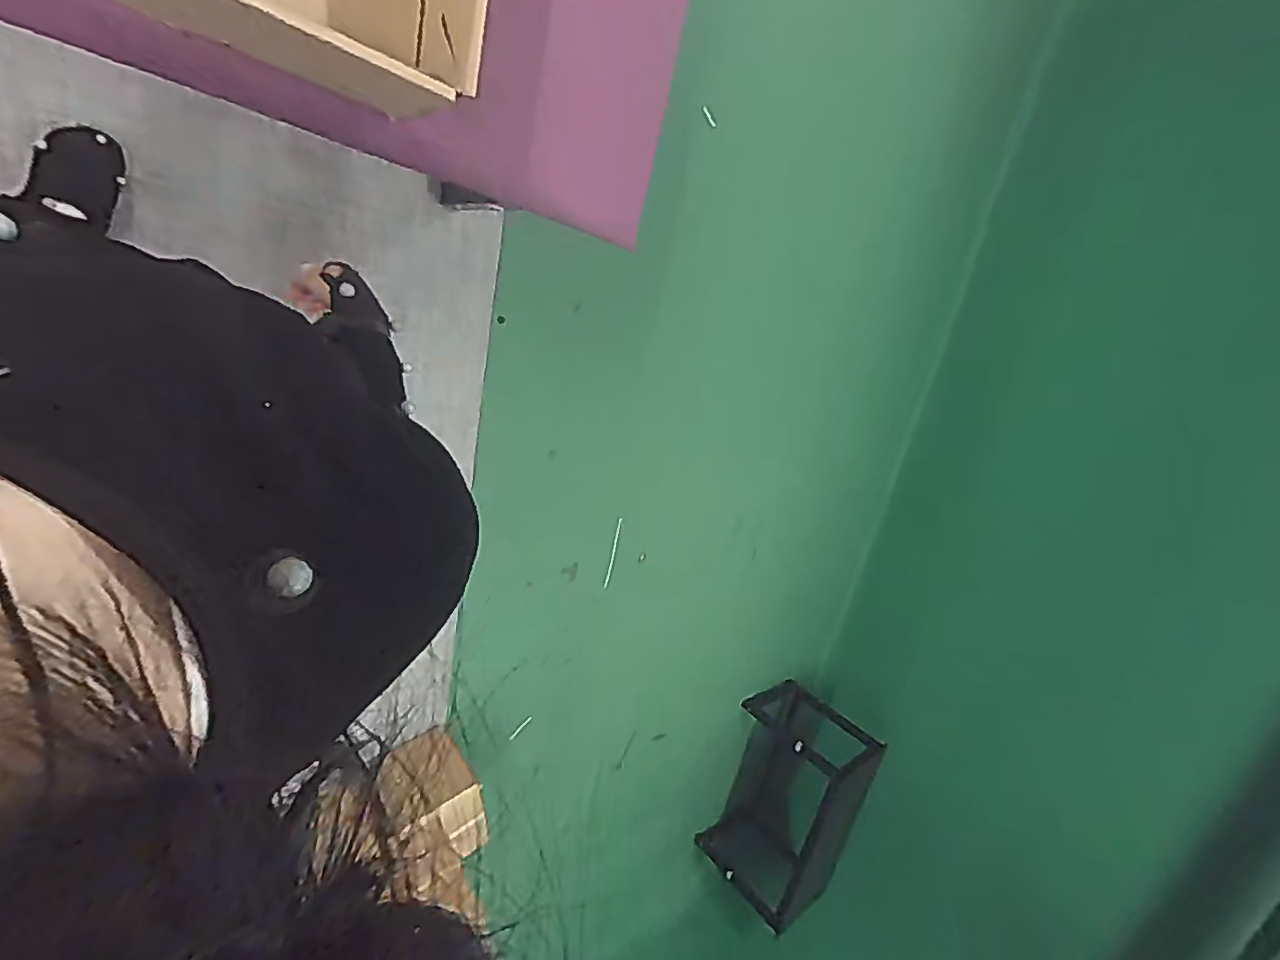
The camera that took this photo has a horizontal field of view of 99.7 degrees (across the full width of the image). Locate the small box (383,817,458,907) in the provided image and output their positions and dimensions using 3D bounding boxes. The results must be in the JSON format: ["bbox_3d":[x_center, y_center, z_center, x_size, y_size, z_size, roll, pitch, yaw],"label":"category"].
[{"bbox_3d":[-0.658,1.156,1.621,0.168,0.176,0.179,-13,119,-38],"label":"small box"}]

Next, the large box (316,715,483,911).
[{"bbox_3d":[-0.797,1.092,1.817,0.408,0.320,0.320,-21,125,-37],"label":"large box"}]

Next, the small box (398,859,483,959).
[{"bbox_3d":[-0.557,1.220,1.511,0.179,0.176,0.168,-12,118,-39],"label":"small box"}]
